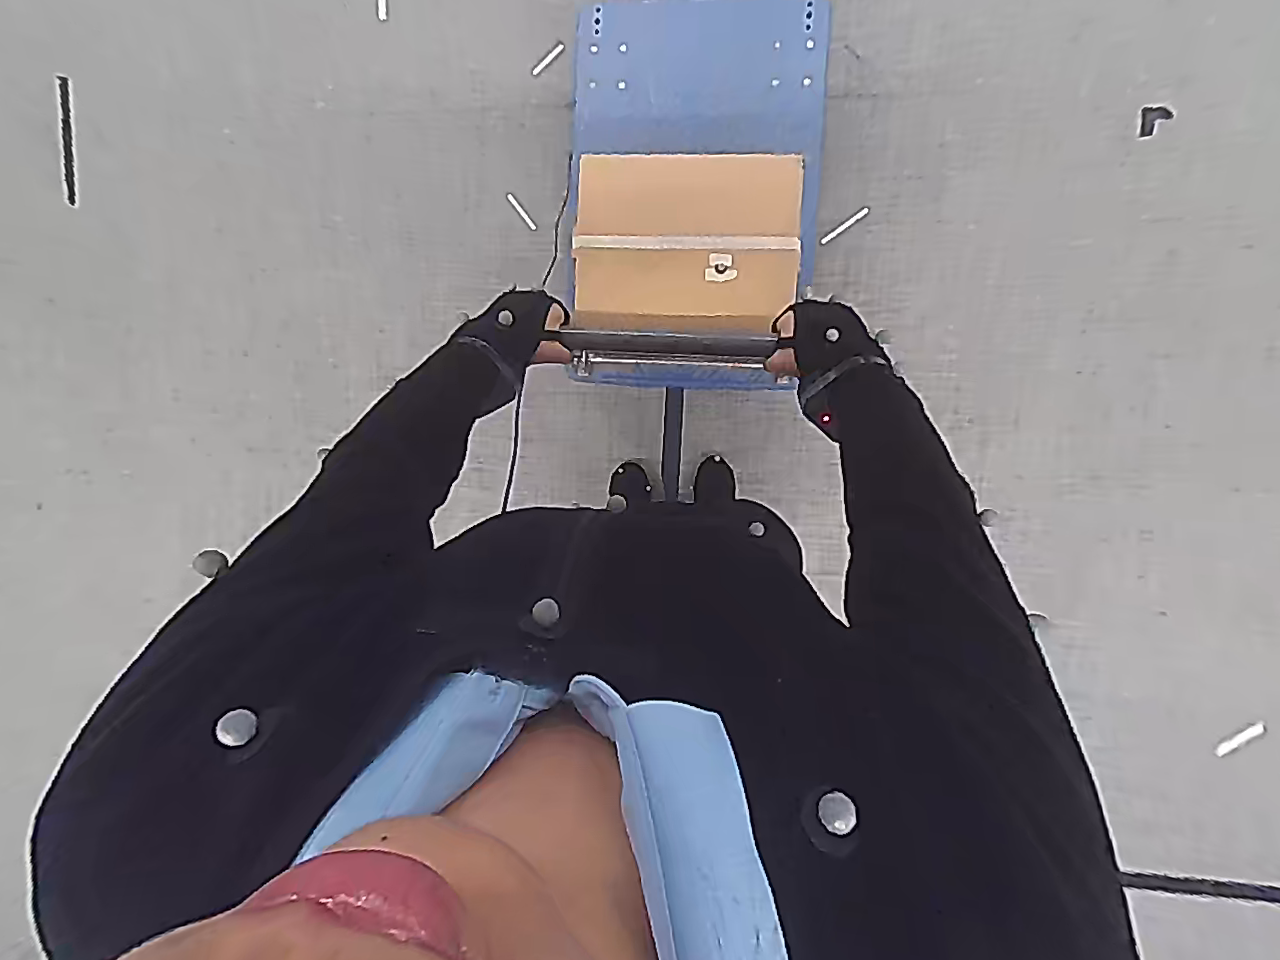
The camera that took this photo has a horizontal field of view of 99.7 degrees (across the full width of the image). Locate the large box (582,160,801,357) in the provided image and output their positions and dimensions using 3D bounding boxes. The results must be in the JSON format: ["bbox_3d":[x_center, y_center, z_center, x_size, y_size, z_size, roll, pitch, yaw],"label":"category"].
[{"bbox_3d":[0.100,-0.442,1.149,0.408,0.320,0.320,3,95,4],"label":"large box"}]
